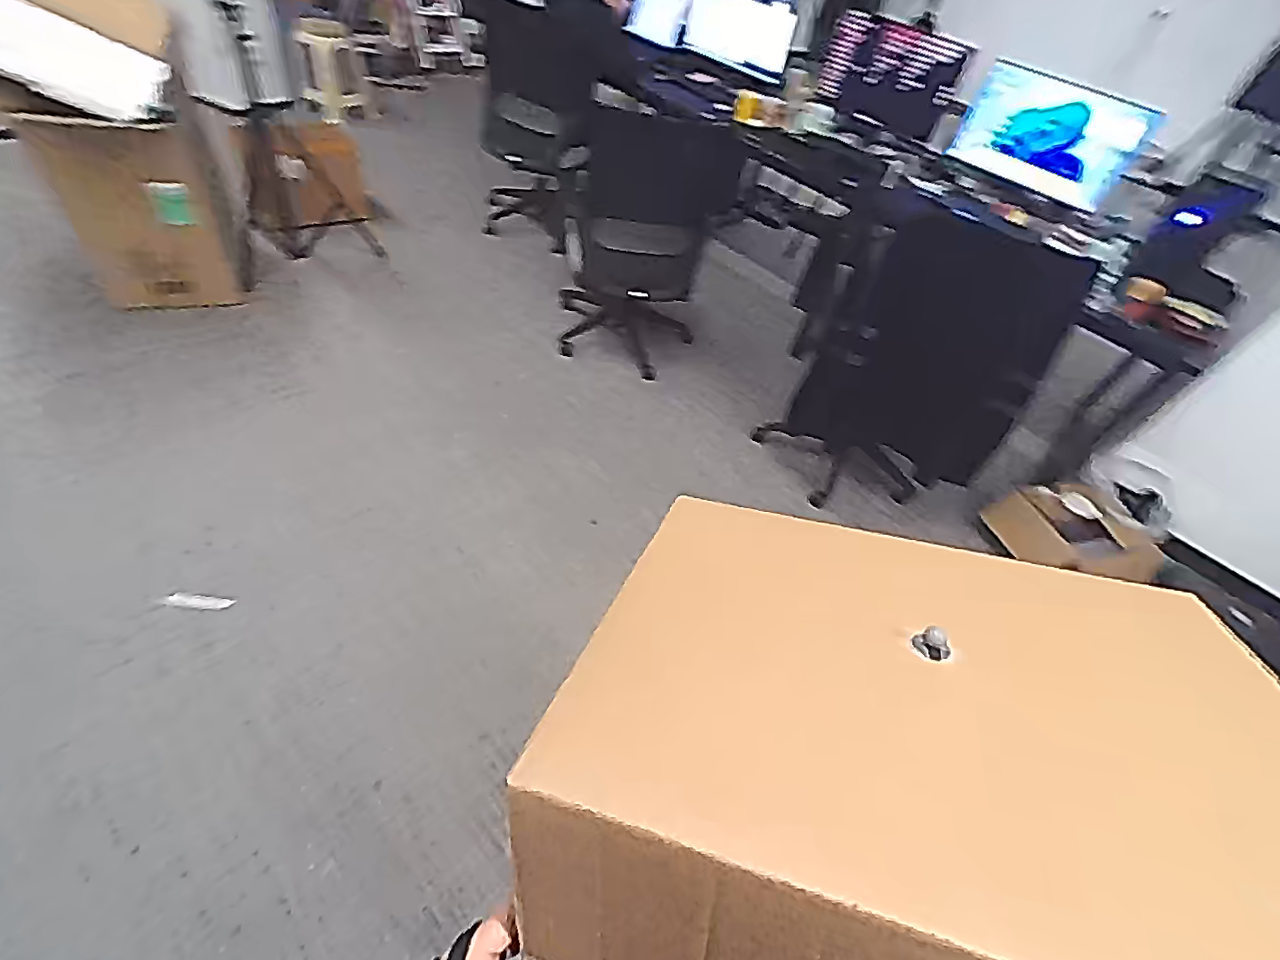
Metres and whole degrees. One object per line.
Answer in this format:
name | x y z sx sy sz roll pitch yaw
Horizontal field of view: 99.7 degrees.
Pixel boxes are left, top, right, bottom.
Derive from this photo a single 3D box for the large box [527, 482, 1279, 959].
large box | 0.178 0.219 0.387 0.408 0.320 0.320 8 28 15
